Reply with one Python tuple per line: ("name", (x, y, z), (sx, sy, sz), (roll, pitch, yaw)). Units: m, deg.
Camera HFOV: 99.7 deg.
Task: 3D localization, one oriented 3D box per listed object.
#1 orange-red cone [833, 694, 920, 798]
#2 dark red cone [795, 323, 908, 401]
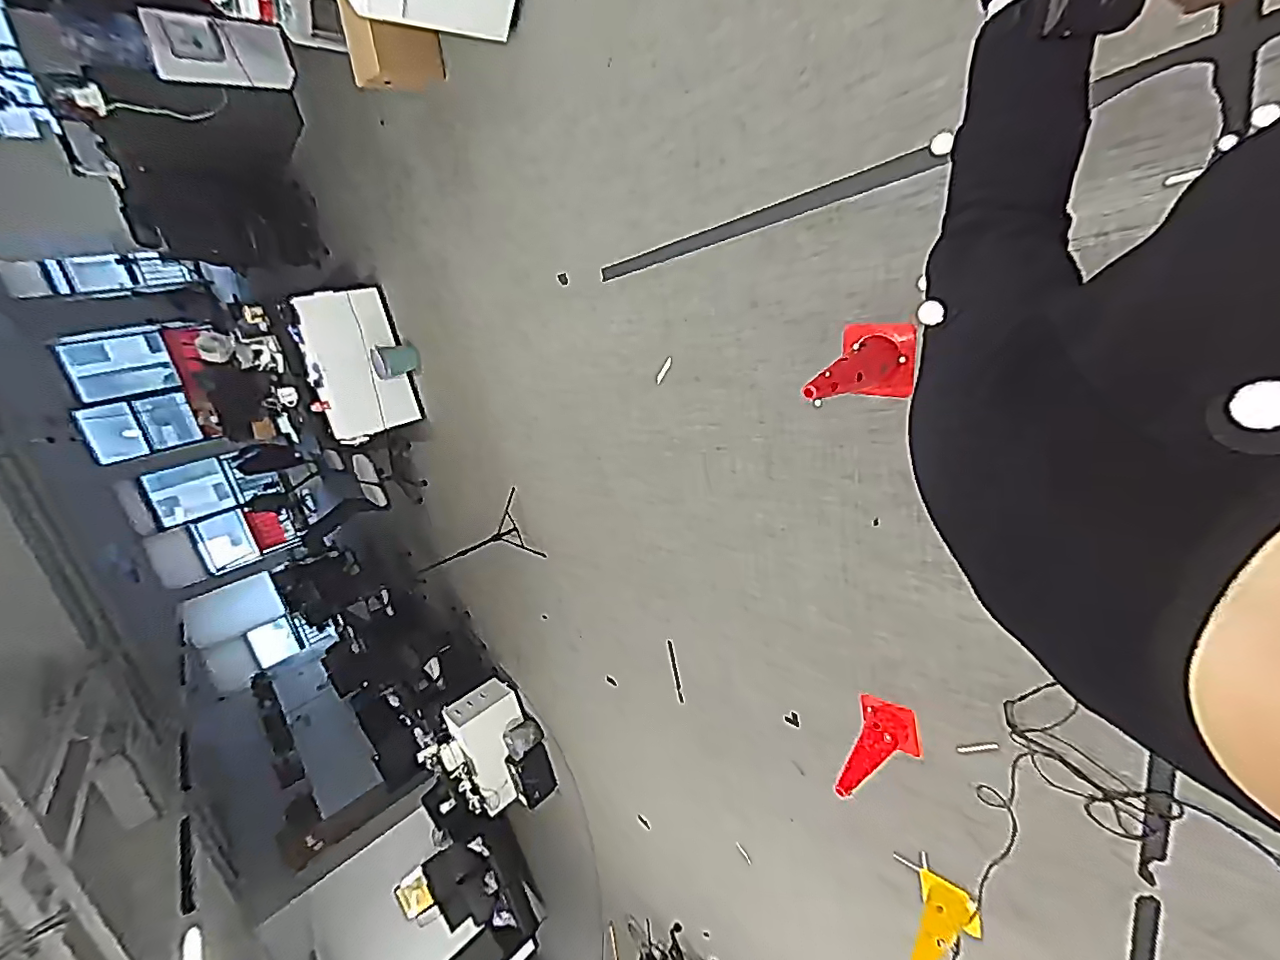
("orange-red cone", (0.762, 0.932, 1.820), (0.198, 0.360, 0.199), (4, 115, 51))
("dark red cone", (0.516, -0.268, 1.384), (0.201, 0.394, 0.202), (14, 121, 45))
